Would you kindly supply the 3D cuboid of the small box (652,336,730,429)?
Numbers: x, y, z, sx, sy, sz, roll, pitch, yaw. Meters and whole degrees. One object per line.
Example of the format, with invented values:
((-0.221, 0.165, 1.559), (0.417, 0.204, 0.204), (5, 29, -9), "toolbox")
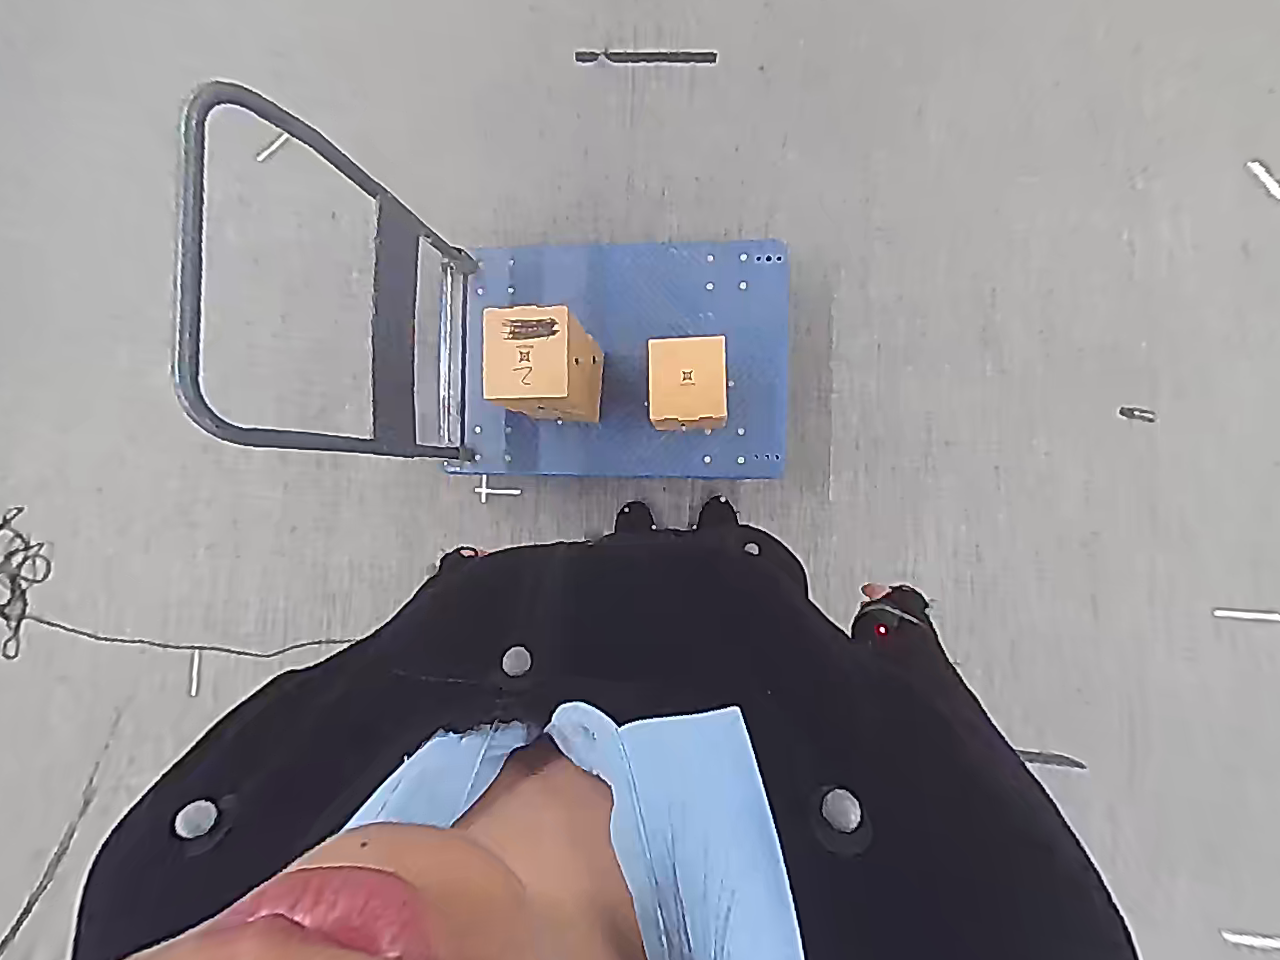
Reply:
((0.114, -0.215, 1.227), (0.168, 0.176, 0.179), (-2, 89, 6), "small box")

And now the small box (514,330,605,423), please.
((-0.179, -0.235, 1.254), (0.168, 0.176, 0.179), (5, 90, 6), "small box")
